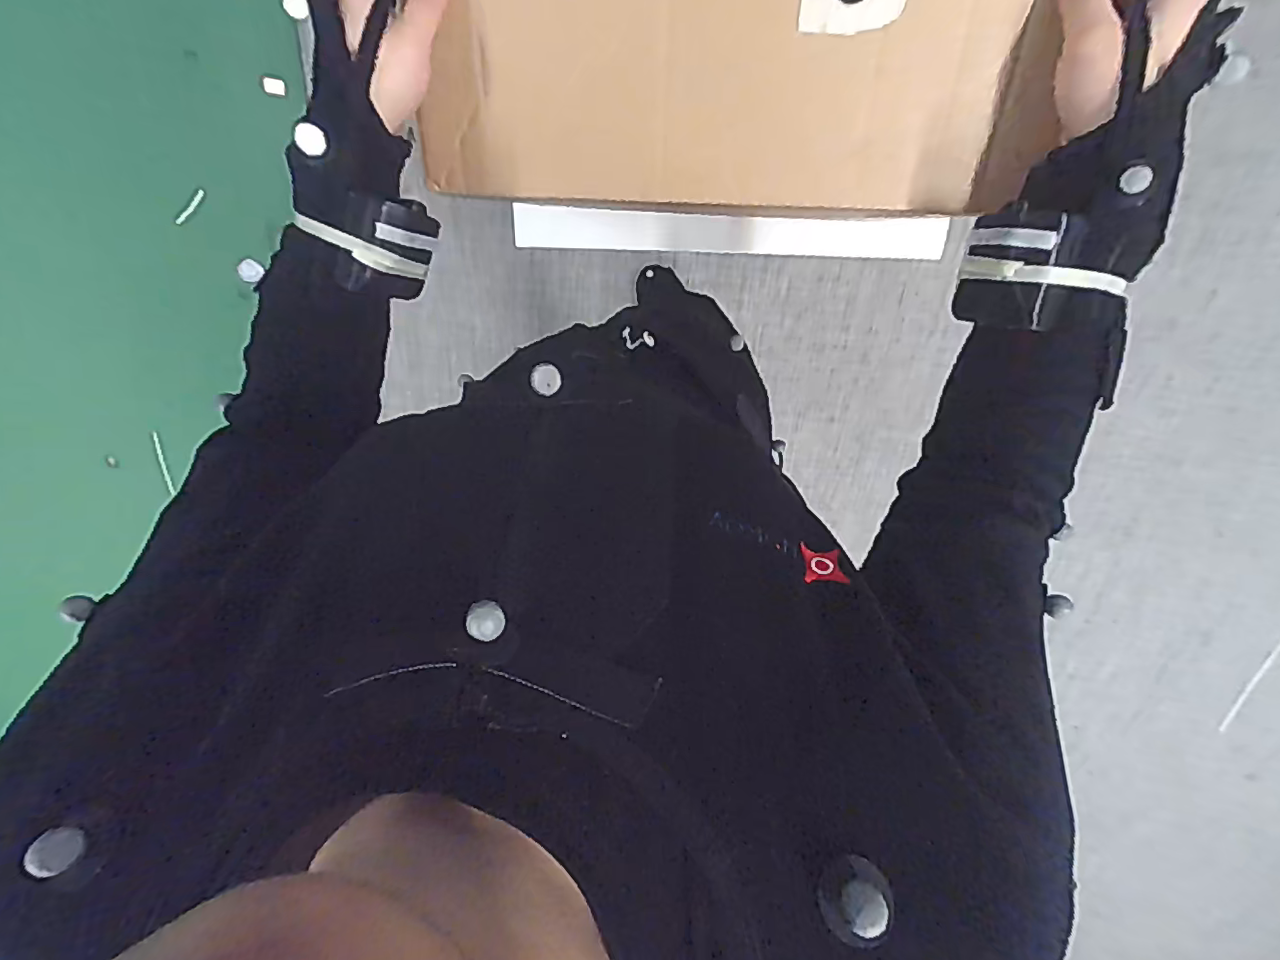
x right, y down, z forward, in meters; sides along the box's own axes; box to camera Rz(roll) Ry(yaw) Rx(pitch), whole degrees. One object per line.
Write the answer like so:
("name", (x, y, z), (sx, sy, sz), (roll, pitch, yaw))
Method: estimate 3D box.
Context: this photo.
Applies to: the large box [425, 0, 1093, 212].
("large box", (0.076, -0.395, 0.437), (0.408, 0.320, 0.320), (4, 116, 4))
